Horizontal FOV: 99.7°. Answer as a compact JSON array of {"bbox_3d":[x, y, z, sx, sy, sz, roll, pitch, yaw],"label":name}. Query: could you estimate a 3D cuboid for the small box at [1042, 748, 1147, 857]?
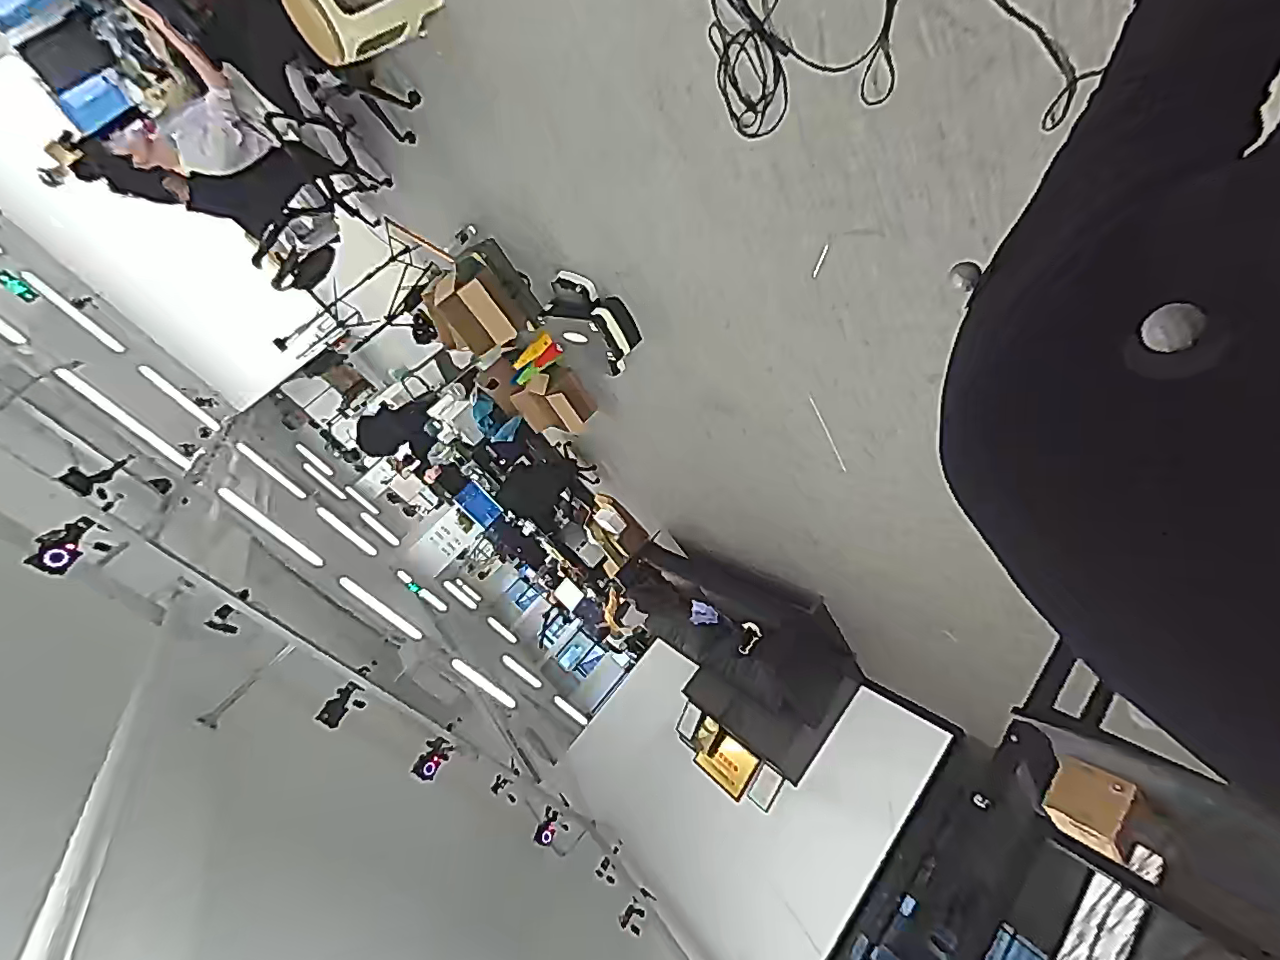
[{"bbox_3d":[1.275,0.893,1.515,0.179,0.176,0.168,49,163,-25],"label":"small box"}]
